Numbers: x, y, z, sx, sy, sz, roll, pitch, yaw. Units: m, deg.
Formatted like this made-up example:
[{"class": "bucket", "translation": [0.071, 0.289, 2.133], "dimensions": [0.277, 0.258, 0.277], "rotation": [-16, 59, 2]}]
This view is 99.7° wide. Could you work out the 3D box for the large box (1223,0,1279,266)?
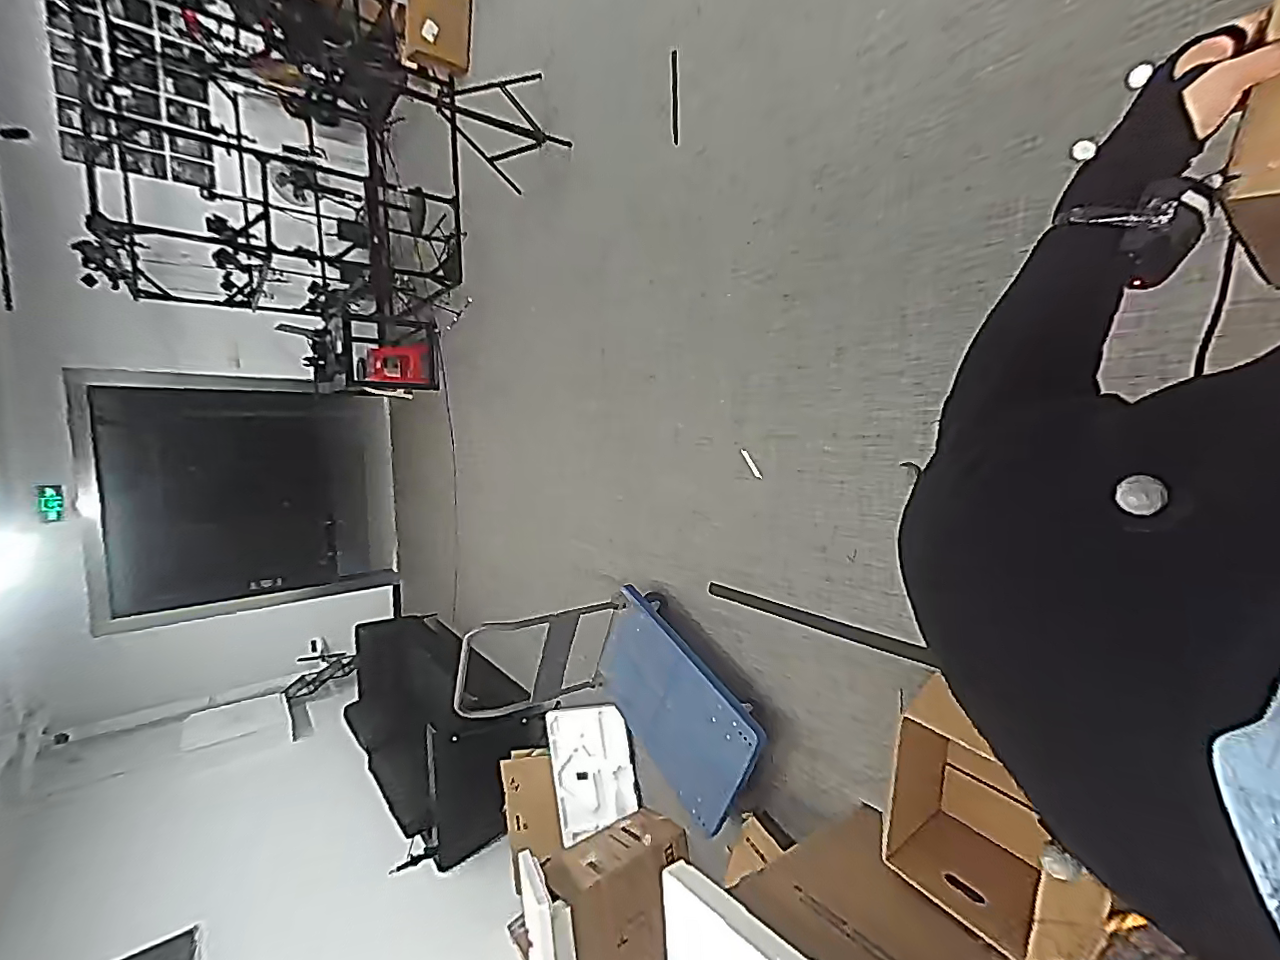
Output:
[{"class": "large box", "translation": [0.695, -0.322, 0.311], "dimensions": [0.408, 0.320, 0.320], "rotation": [21, 105, 55]}]
